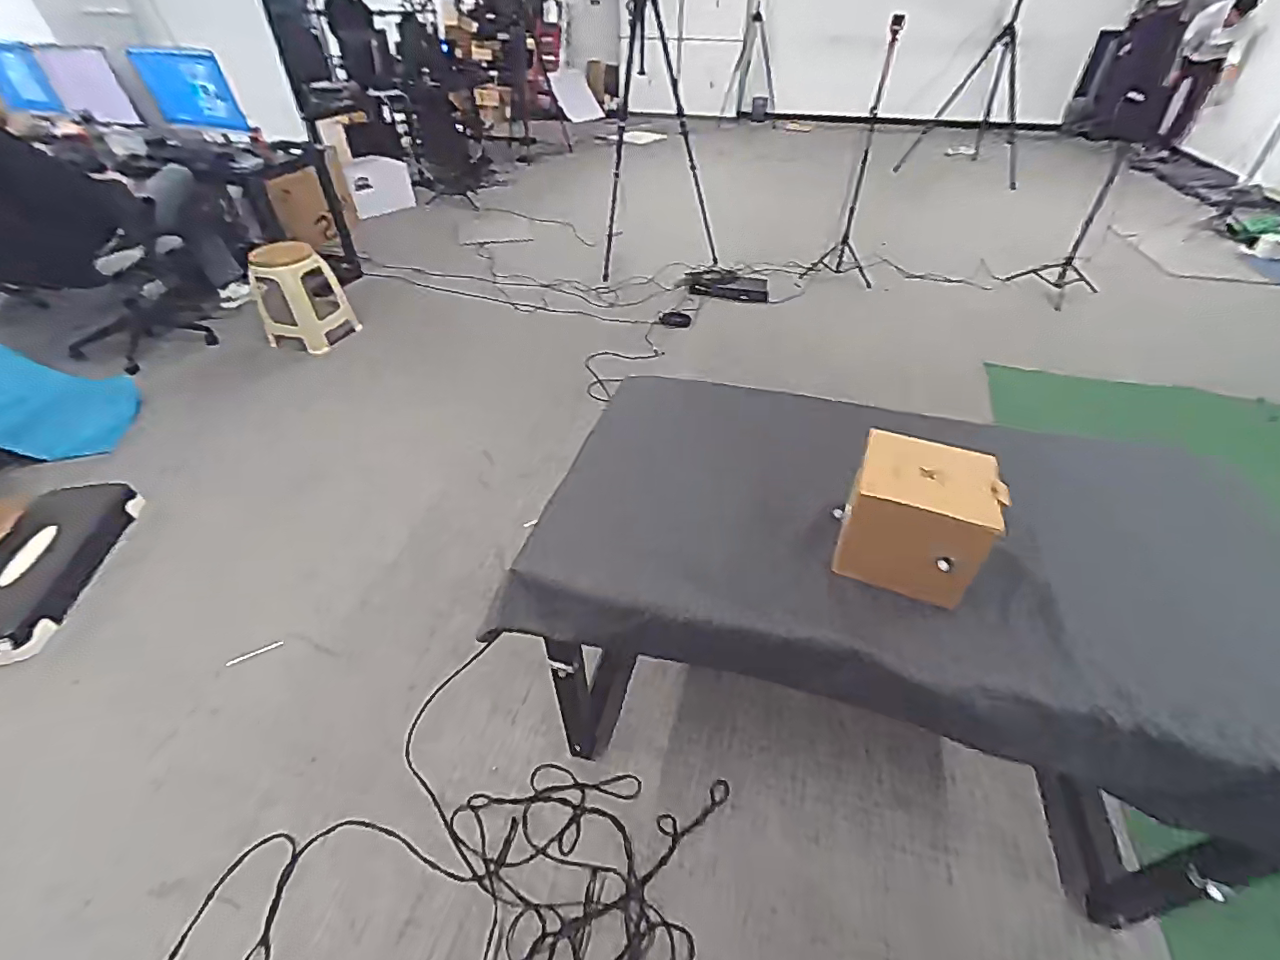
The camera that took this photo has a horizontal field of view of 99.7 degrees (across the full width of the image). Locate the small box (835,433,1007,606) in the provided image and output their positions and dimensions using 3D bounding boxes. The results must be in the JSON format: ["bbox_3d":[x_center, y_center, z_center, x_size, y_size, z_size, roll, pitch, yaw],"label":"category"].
[{"bbox_3d":[0.405,0.060,0.797,0.179,0.176,0.168,15,42,18],"label":"small box"}]
